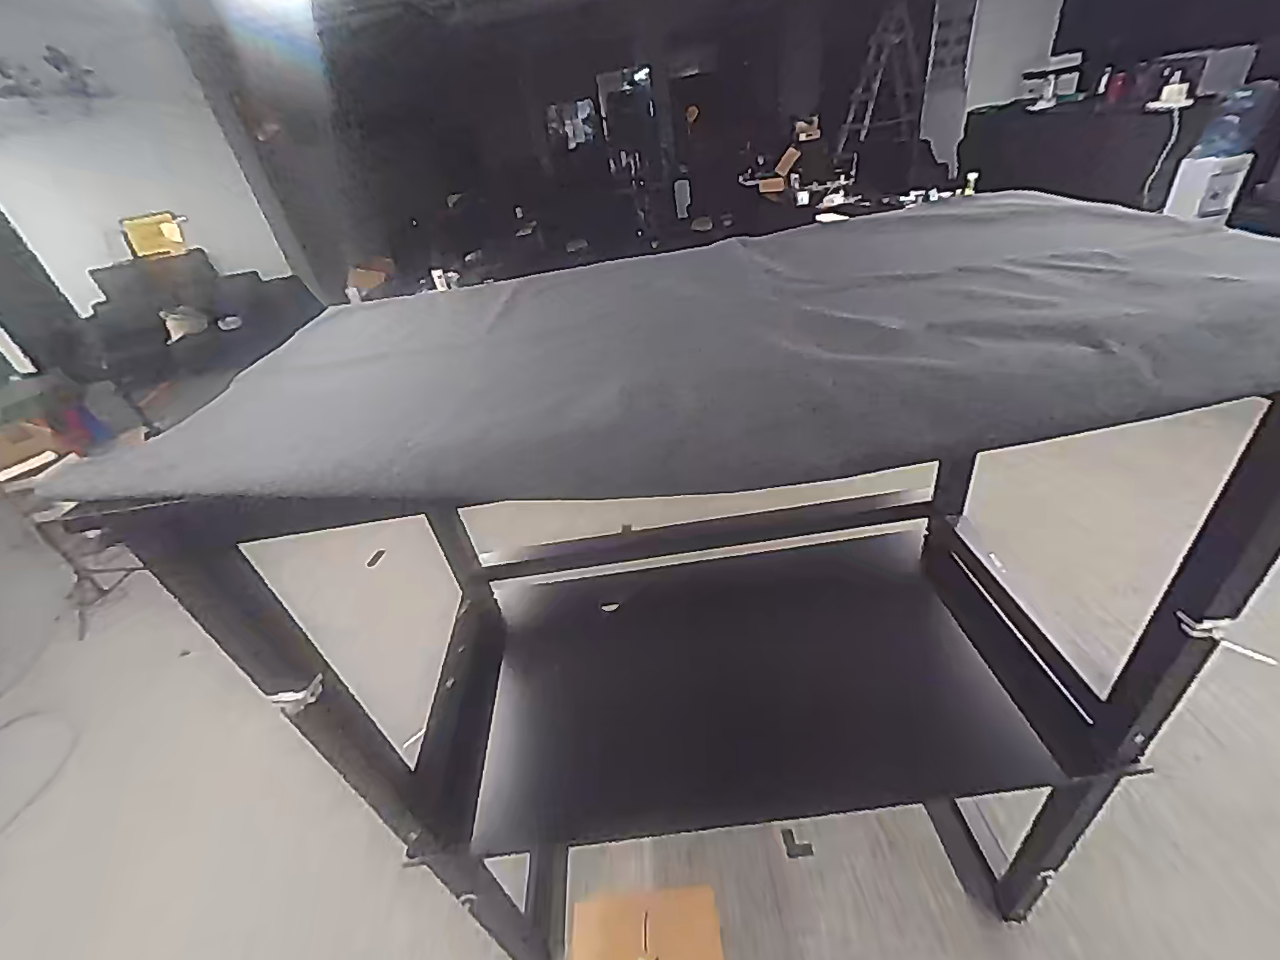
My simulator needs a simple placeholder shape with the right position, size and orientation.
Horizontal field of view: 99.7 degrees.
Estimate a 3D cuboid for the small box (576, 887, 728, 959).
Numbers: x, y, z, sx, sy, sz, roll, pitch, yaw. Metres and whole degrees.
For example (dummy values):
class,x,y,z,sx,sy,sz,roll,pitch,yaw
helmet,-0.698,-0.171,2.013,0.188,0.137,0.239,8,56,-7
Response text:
class,x,y,z,sx,sy,sz,roll,pitch,yaw
small box,0.022,0.591,0.581,0.168,0.176,0.179,-6,20,-1
